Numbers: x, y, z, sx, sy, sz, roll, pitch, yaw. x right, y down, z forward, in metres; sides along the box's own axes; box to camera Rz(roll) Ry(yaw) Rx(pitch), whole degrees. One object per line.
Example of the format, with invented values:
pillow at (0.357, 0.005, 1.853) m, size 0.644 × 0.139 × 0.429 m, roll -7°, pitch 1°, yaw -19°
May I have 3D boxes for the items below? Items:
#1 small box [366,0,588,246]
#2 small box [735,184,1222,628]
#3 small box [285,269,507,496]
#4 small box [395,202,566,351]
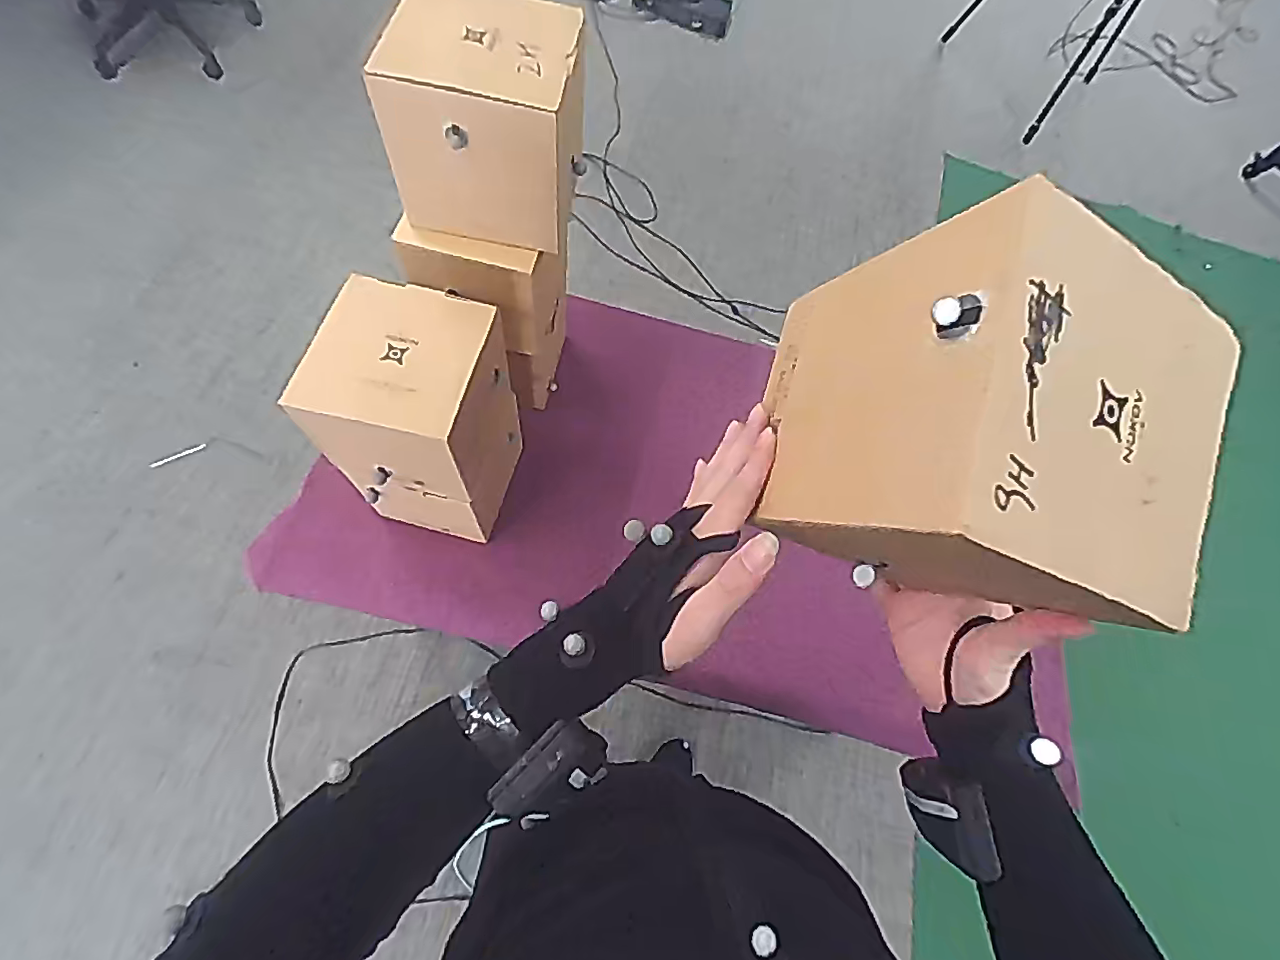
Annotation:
small box at (-0.158, -0.385, 0.587) m, size 0.179 × 0.176 × 0.168 m, roll 10°, pitch 66°, yaw -4°
small box at (0.190, -0.027, 0.330) m, size 0.179 × 0.176 × 0.168 m, roll 21°, pitch 81°, yaw -22°
small box at (-0.260, -0.104, 0.631) m, size 0.168 × 0.176 × 0.179 m, roll 13°, pitch 66°, yaw -2°
small box at (-0.196, -0.301, 0.726) m, size 0.168 × 0.176 × 0.179 m, roll 13°, pitch 66°, yaw -3°
